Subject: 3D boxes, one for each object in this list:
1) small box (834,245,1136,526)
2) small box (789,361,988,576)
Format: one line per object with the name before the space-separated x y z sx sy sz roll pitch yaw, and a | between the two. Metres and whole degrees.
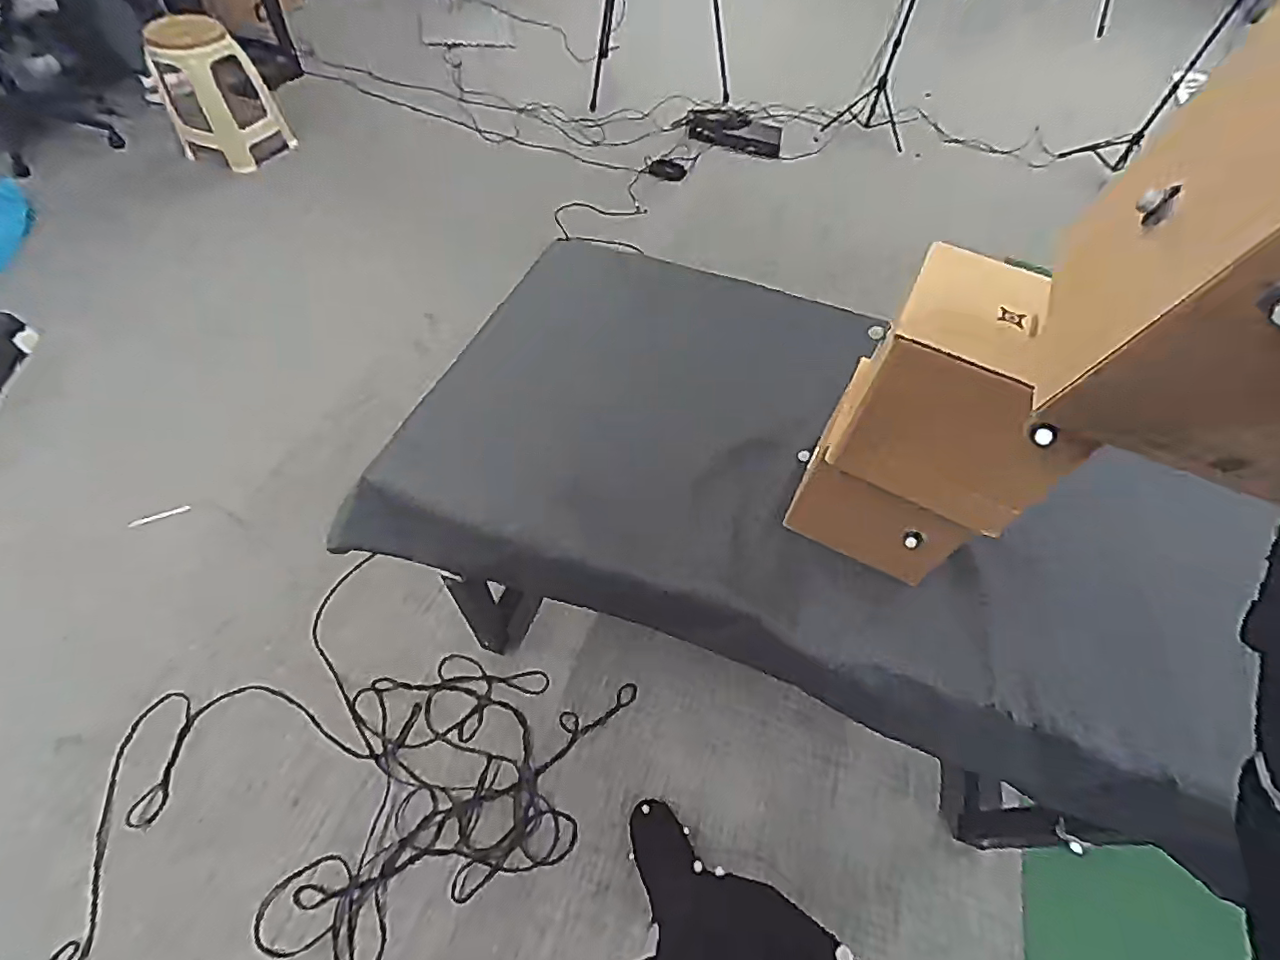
small box | 0.310 -0.084 0.512 0.179 0.176 0.168 27 57 13
small box | 0.306 -0.006 0.656 0.179 0.176 0.168 25 56 13
